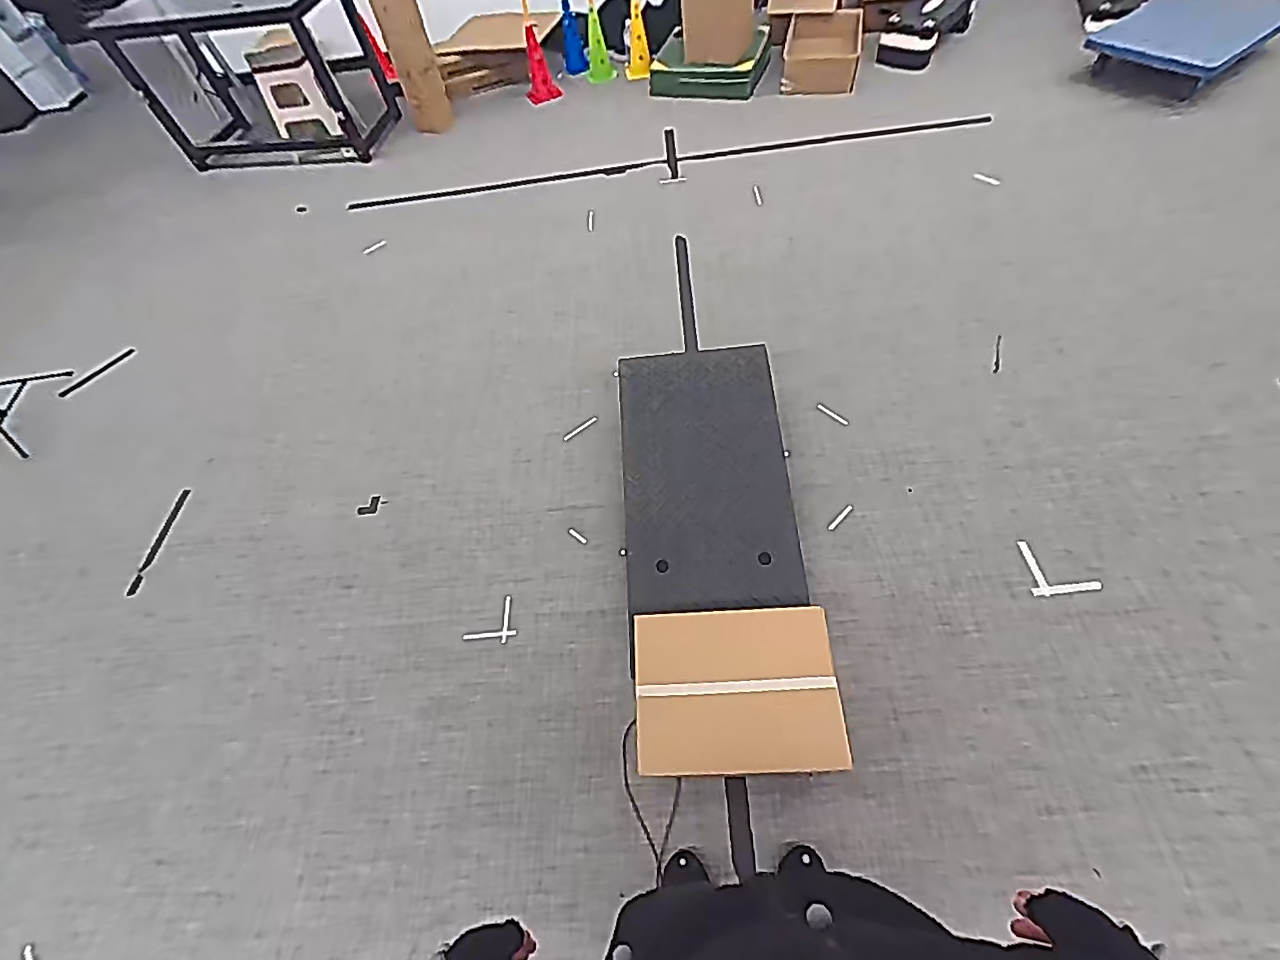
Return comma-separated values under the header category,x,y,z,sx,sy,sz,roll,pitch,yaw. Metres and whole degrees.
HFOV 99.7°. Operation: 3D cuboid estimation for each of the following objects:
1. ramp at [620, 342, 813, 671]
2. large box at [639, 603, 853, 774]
category,x,y,z,sx,sy,sz,roll,pitch,yaw
ramp,0.205,0.029,1.608,0.509,0.206,0.991,-6,57,3
large box,0.218,0.486,1.234,0.408,0.320,0.320,-5,60,5
